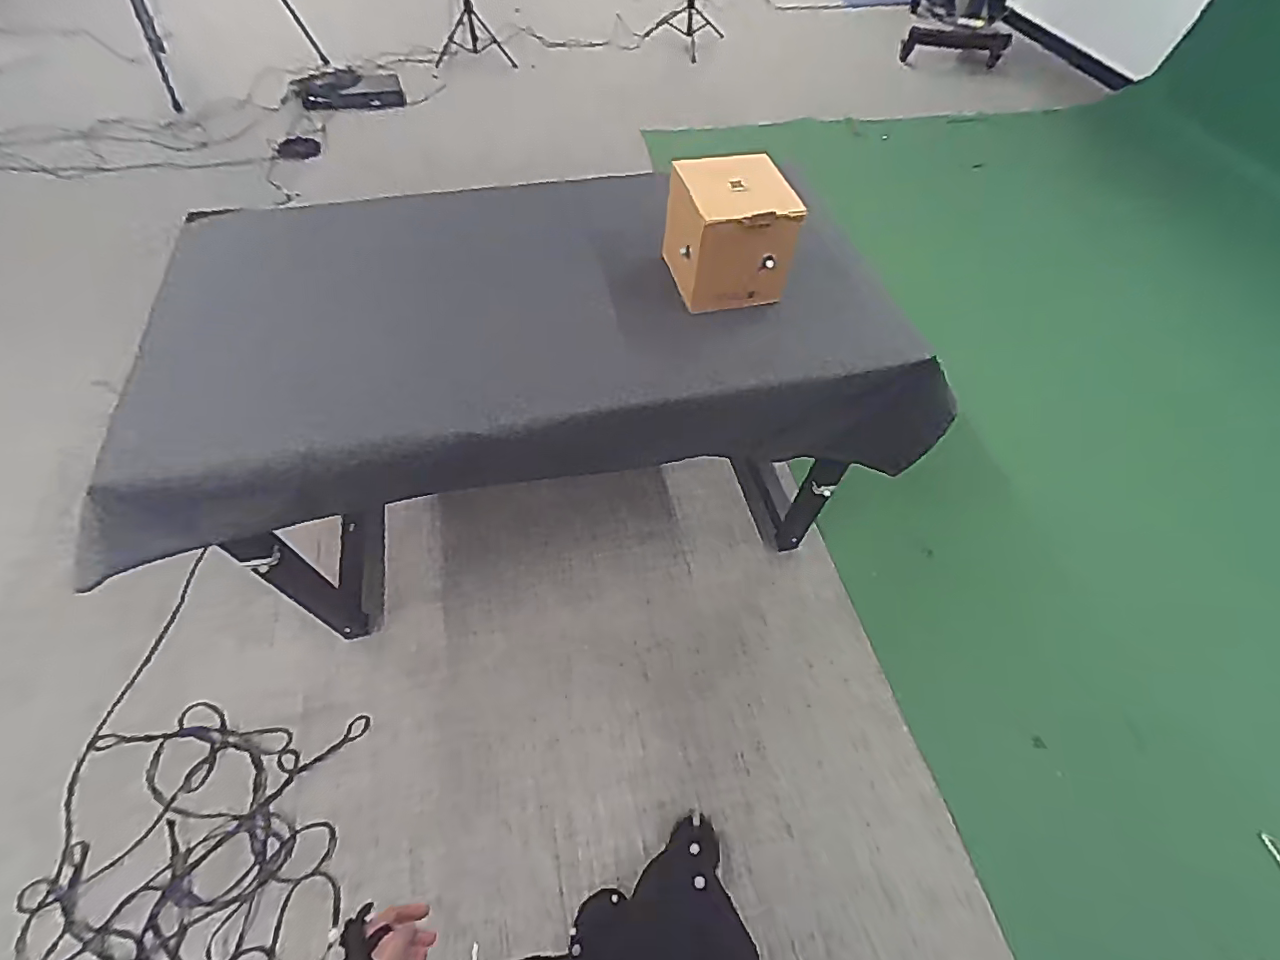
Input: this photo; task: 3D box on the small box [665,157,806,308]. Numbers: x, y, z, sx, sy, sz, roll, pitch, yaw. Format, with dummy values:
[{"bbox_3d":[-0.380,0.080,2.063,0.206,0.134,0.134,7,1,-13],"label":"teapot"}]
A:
[{"bbox_3d":[0.145,-0.402,0.896,0.168,0.176,0.179,-11,56,-11],"label":"small box"}]
